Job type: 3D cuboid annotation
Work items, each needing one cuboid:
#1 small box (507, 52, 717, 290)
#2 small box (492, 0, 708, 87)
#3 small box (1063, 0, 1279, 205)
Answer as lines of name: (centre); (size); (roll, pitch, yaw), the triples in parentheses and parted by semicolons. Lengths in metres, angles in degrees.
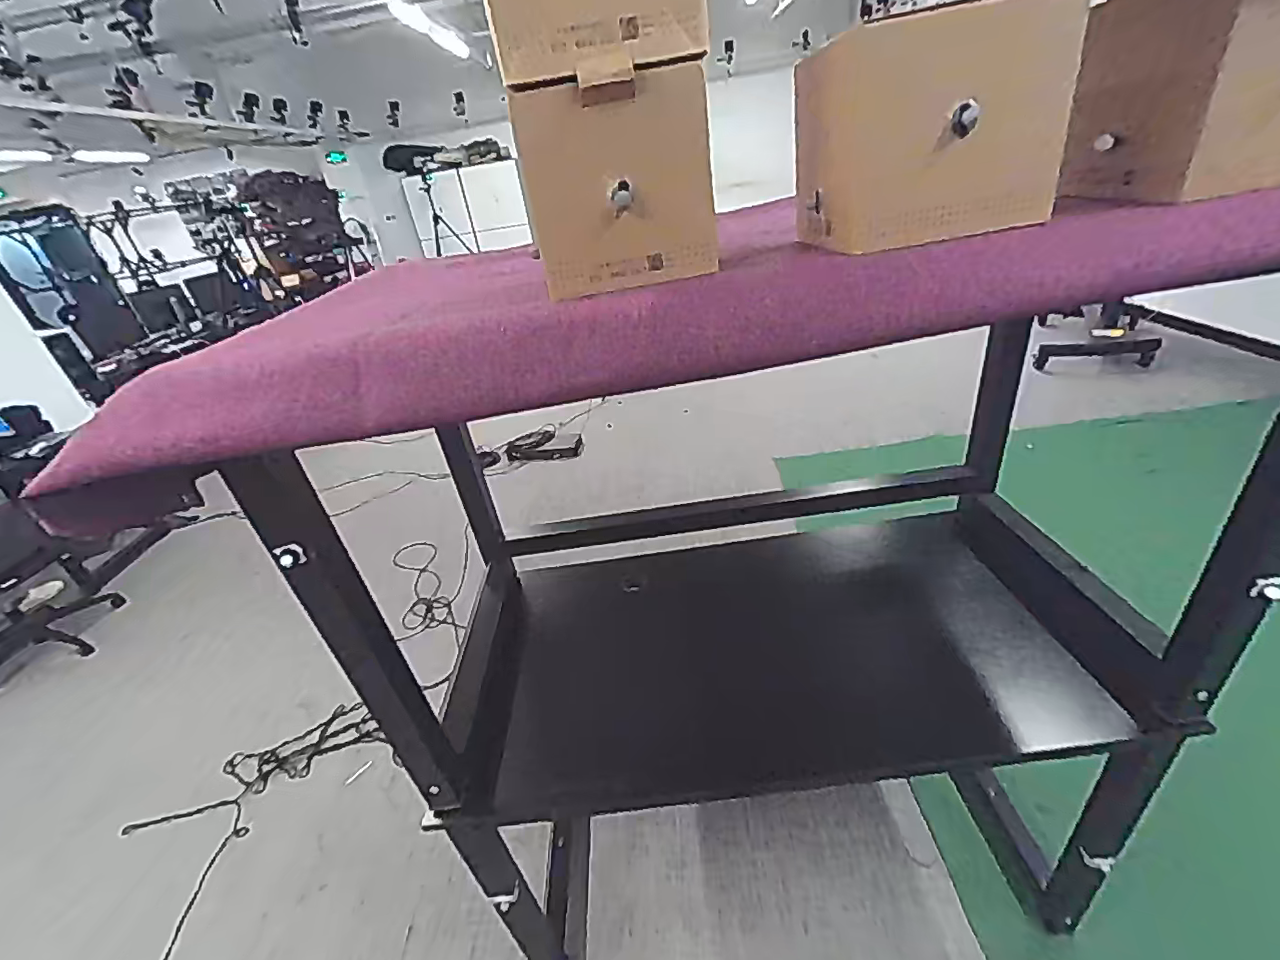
small box: (-0.022, -0.297, 0.543); (0.168, 0.176, 0.179); (-10, 30, 0)
small box: (-0.045, -0.435, 0.460); (0.168, 0.176, 0.179); (-11, 28, -2)
small box: (0.534, -0.361, 0.486); (0.179, 0.176, 0.168); (-9, 30, 4)
